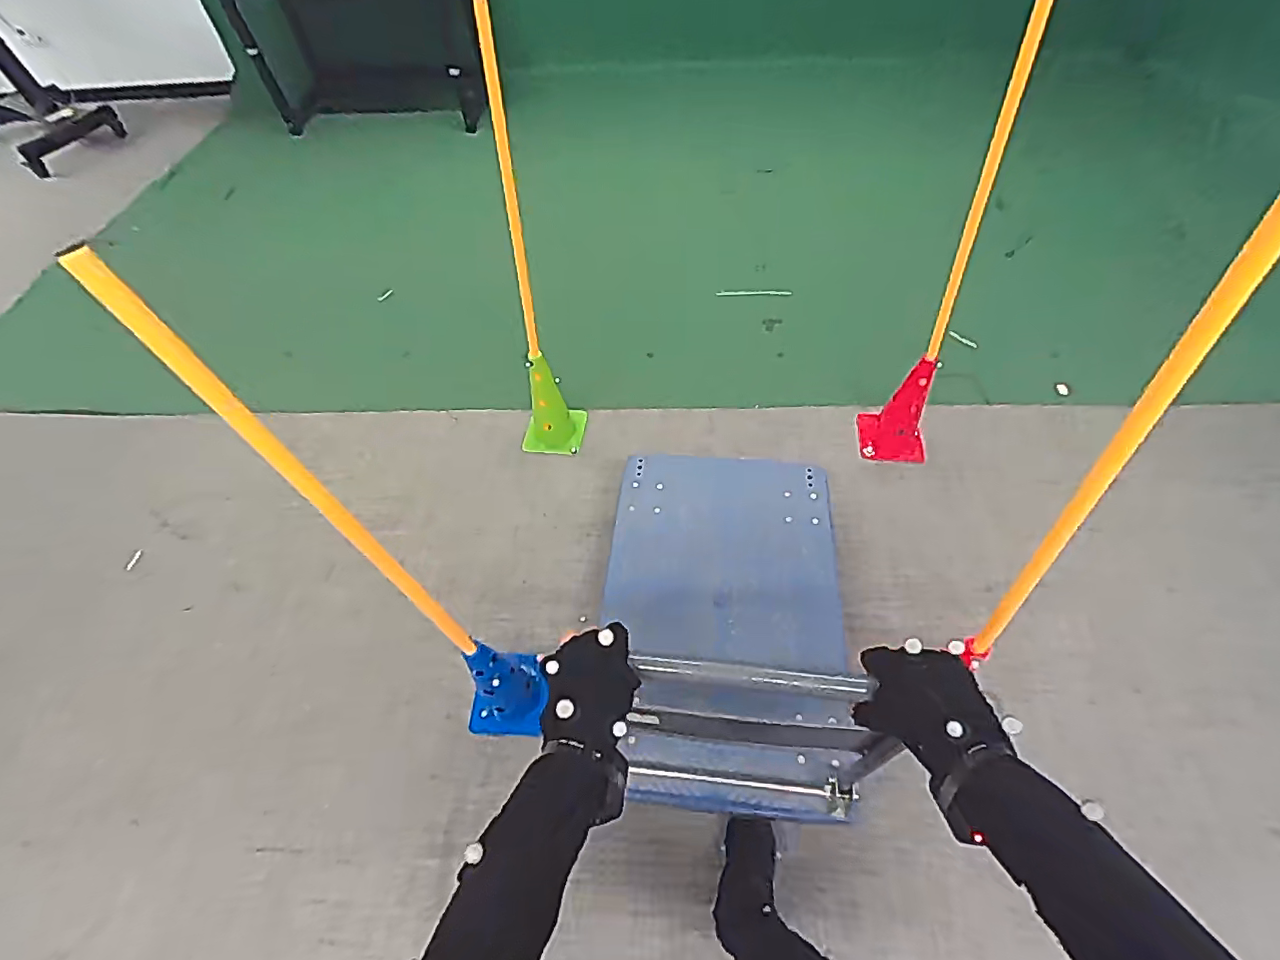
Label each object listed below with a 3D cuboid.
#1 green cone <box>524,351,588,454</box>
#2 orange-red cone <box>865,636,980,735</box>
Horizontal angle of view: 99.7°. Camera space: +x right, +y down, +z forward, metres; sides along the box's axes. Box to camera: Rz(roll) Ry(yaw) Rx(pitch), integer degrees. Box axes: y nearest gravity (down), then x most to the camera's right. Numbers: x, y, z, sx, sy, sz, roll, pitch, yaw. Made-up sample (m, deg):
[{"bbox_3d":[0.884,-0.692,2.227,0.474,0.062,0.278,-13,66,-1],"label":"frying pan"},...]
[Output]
[{"bbox_3d":[-0.304,-0.273,1.764,0.202,0.368,0.200,4,55,7],"label":"green cone"},{"bbox_3d":[0.667,0.432,1.215,0.199,0.360,0.198,-1,54,5],"label":"orange-red cone"}]
